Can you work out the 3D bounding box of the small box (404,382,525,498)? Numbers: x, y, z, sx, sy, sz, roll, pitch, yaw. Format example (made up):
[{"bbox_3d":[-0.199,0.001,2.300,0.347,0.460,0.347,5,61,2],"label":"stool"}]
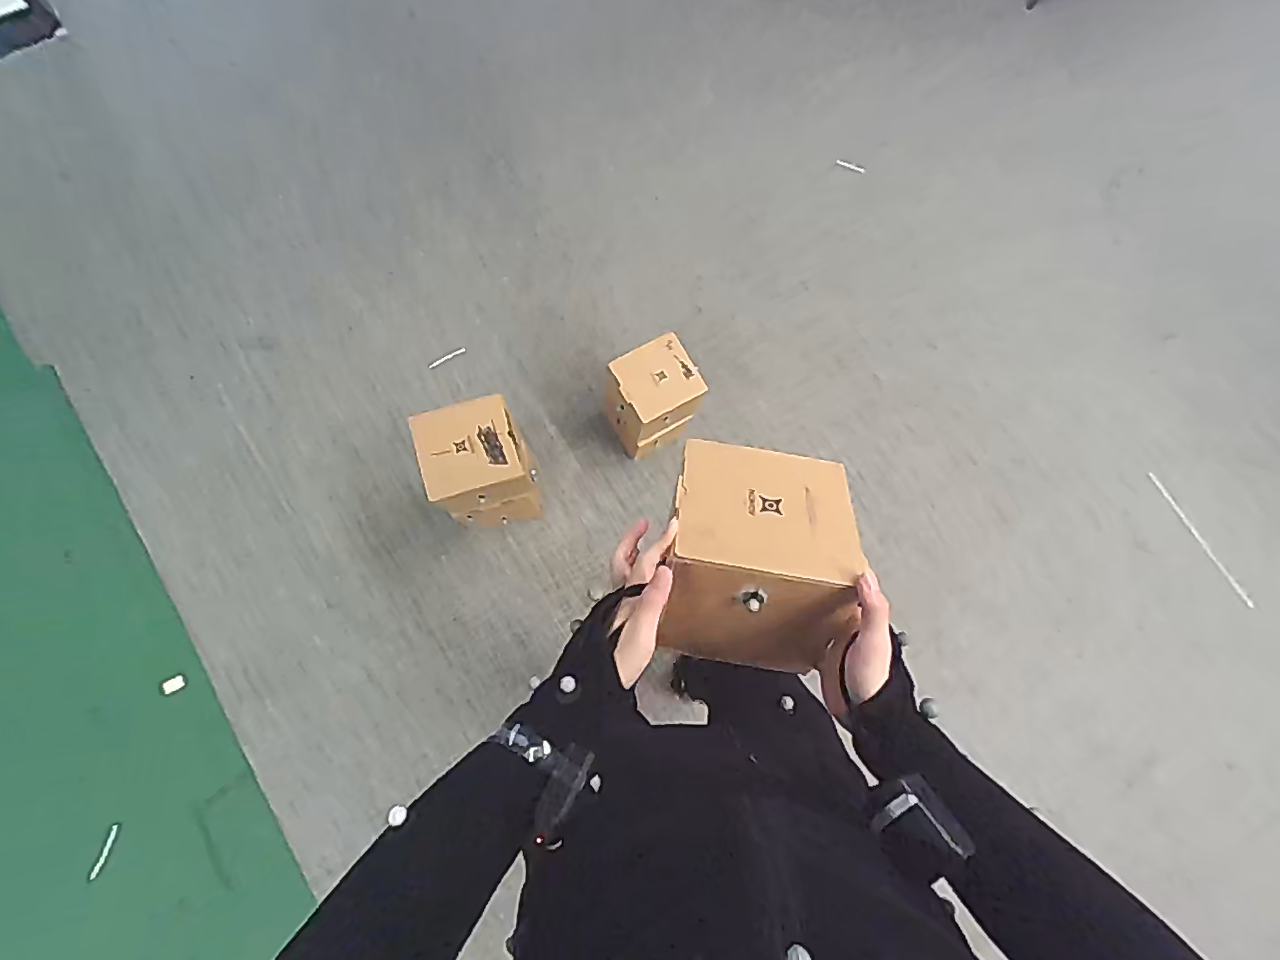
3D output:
[{"bbox_3d":[-0.325,-0.071,1.041,0.179,0.176,0.168,-14,82,-7],"label":"small box"}]

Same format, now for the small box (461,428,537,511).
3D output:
[{"bbox_3d":[-0.357,-0.018,1.363,0.168,0.176,0.179,-8,81,-7],"label":"small box"}]

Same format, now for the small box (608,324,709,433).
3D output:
[{"bbox_3d":[0.038,-0.230,1.271,0.179,0.176,0.168,-27,84,-8],"label":"small box"}]

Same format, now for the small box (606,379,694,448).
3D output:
[{"bbox_3d":[0.020,-0.197,1.431,0.168,0.176,0.179,-28,84,-9],"label":"small box"}]
